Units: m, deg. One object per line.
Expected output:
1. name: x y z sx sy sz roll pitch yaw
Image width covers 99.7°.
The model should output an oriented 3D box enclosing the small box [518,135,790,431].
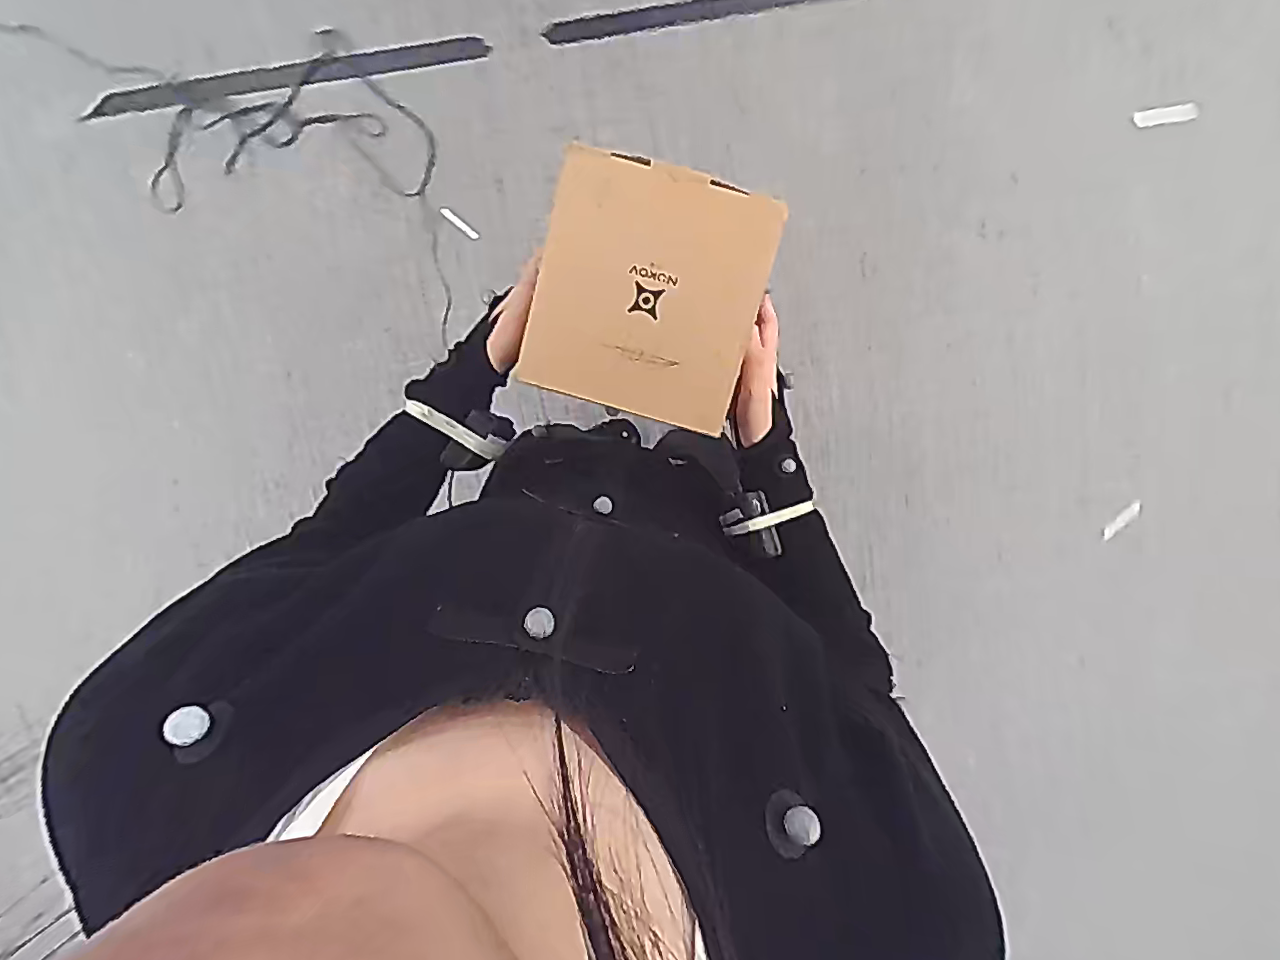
1. small box: 0.010 -0.154 0.473 0.168 0.176 0.179 15 101 0

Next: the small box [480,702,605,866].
1. small box: -0.151 0.484 0.889 0.168 0.176 0.179 -5 99 1
